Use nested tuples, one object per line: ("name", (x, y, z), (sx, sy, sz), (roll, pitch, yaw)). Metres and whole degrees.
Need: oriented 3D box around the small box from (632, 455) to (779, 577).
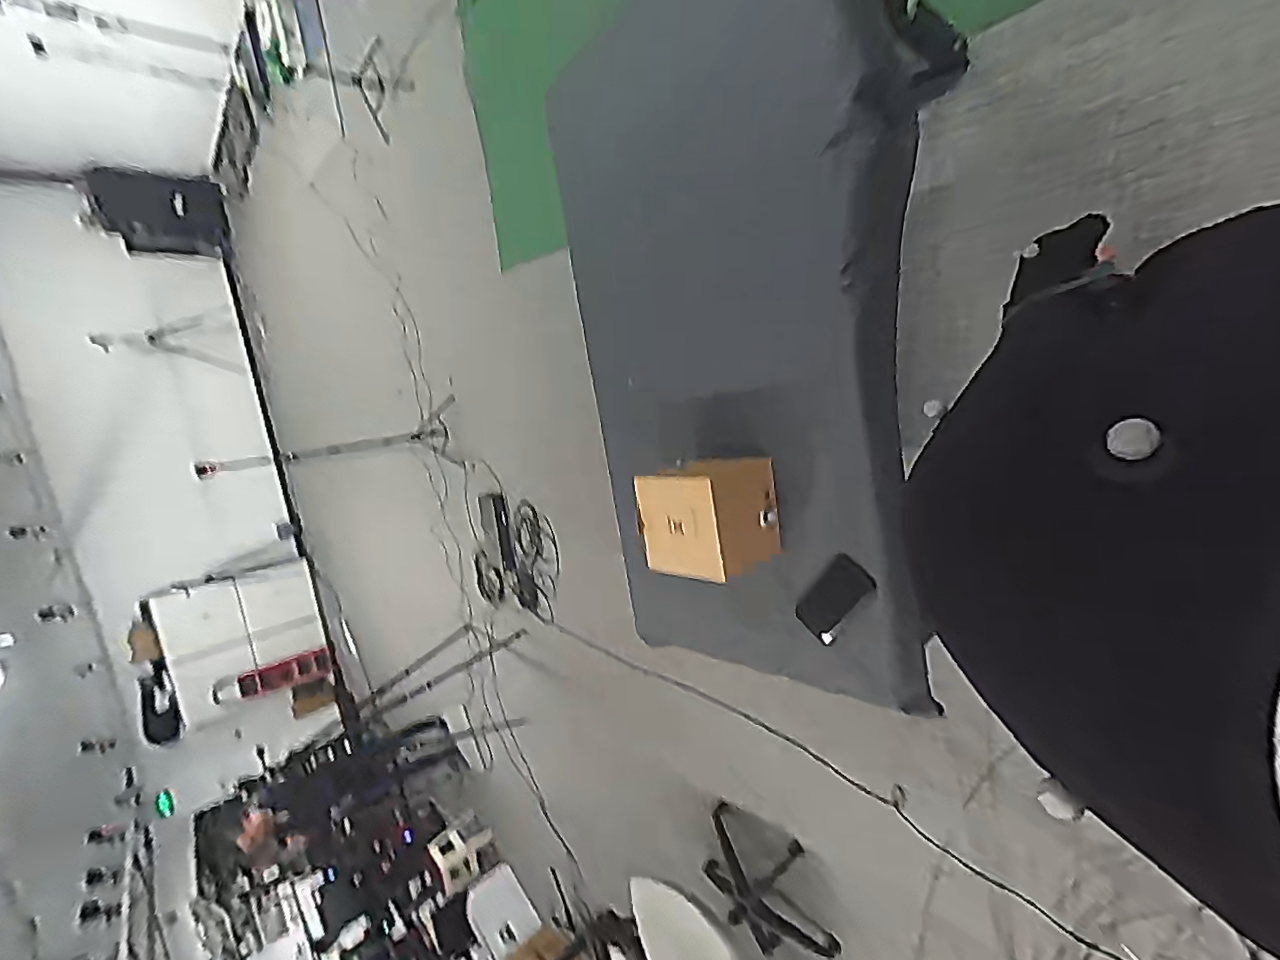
("small box", (0.115, 0.055, 0.939), (0.179, 0.176, 0.168), (-2, 102, 47))
